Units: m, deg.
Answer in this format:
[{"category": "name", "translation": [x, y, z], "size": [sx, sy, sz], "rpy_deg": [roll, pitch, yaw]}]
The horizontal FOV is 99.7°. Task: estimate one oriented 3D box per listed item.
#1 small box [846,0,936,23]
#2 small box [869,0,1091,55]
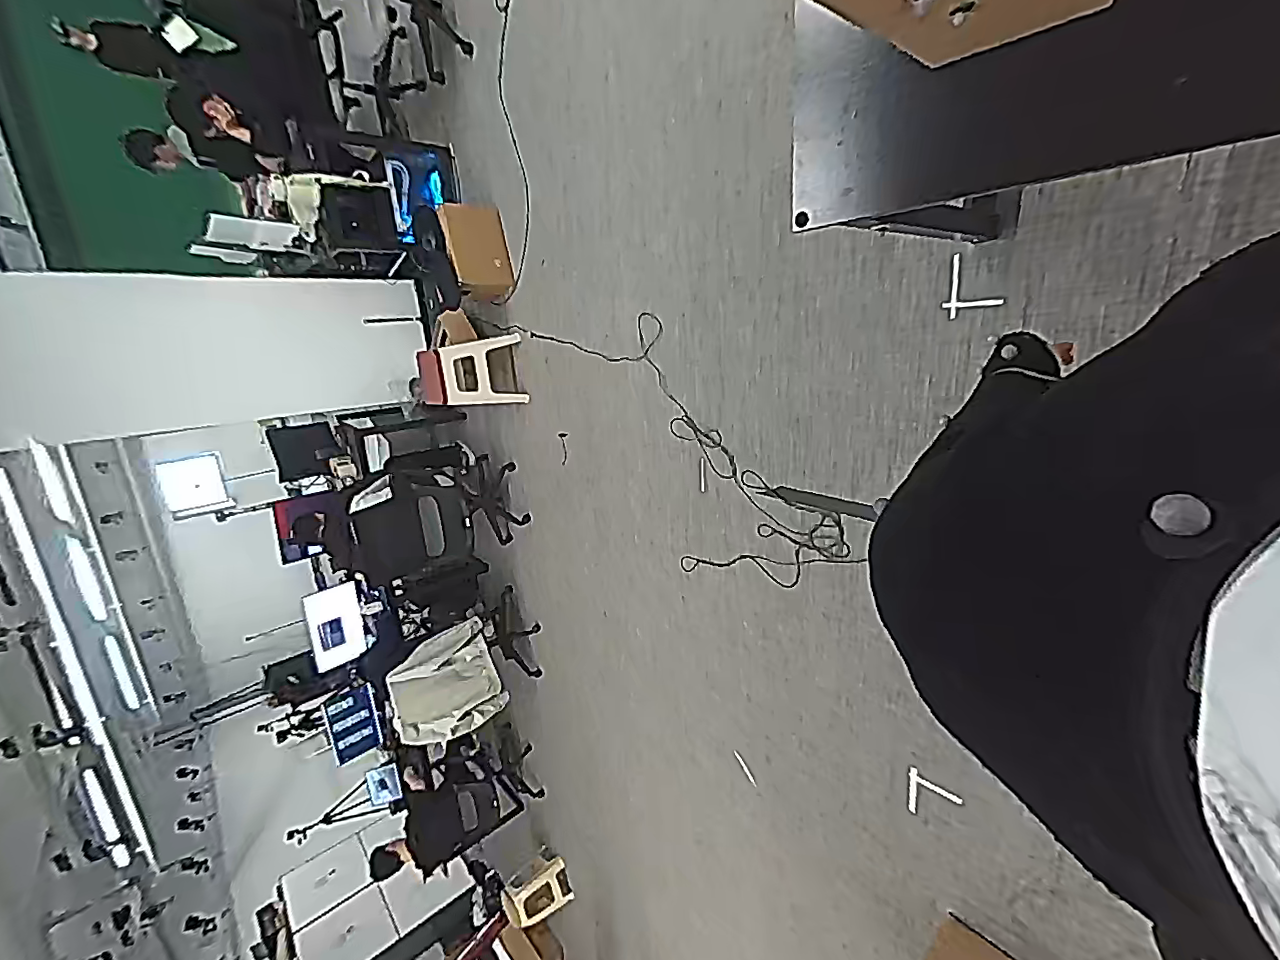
[{"category": "small box", "translation": [0.230, -0.523, 0.434], "size": [0.168, 0.176, 0.179], "rpy_deg": [15, 115, 49]}, {"category": "small box", "translation": [0.355, -0.560, 0.532], "size": [0.179, 0.176, 0.168], "rpy_deg": [15, 114, 46]}]
